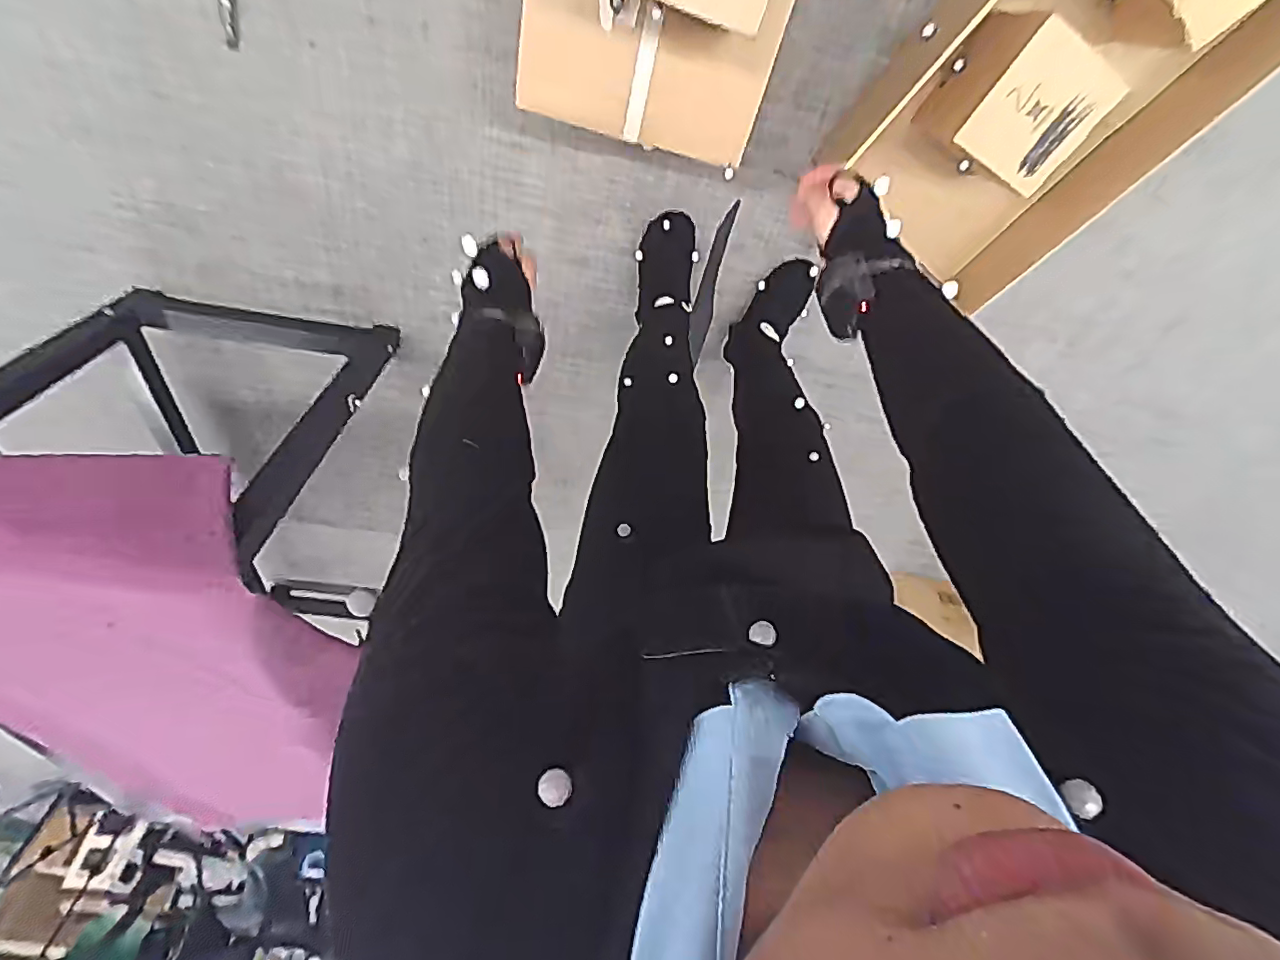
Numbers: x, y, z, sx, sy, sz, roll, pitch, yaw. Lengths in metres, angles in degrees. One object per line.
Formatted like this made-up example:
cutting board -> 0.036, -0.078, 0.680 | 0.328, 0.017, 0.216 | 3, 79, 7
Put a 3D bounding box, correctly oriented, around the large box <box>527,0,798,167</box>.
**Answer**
large box -> 0.045, -0.706, 0.710 | 0.320, 0.320, 0.408 | 12, 133, -7
